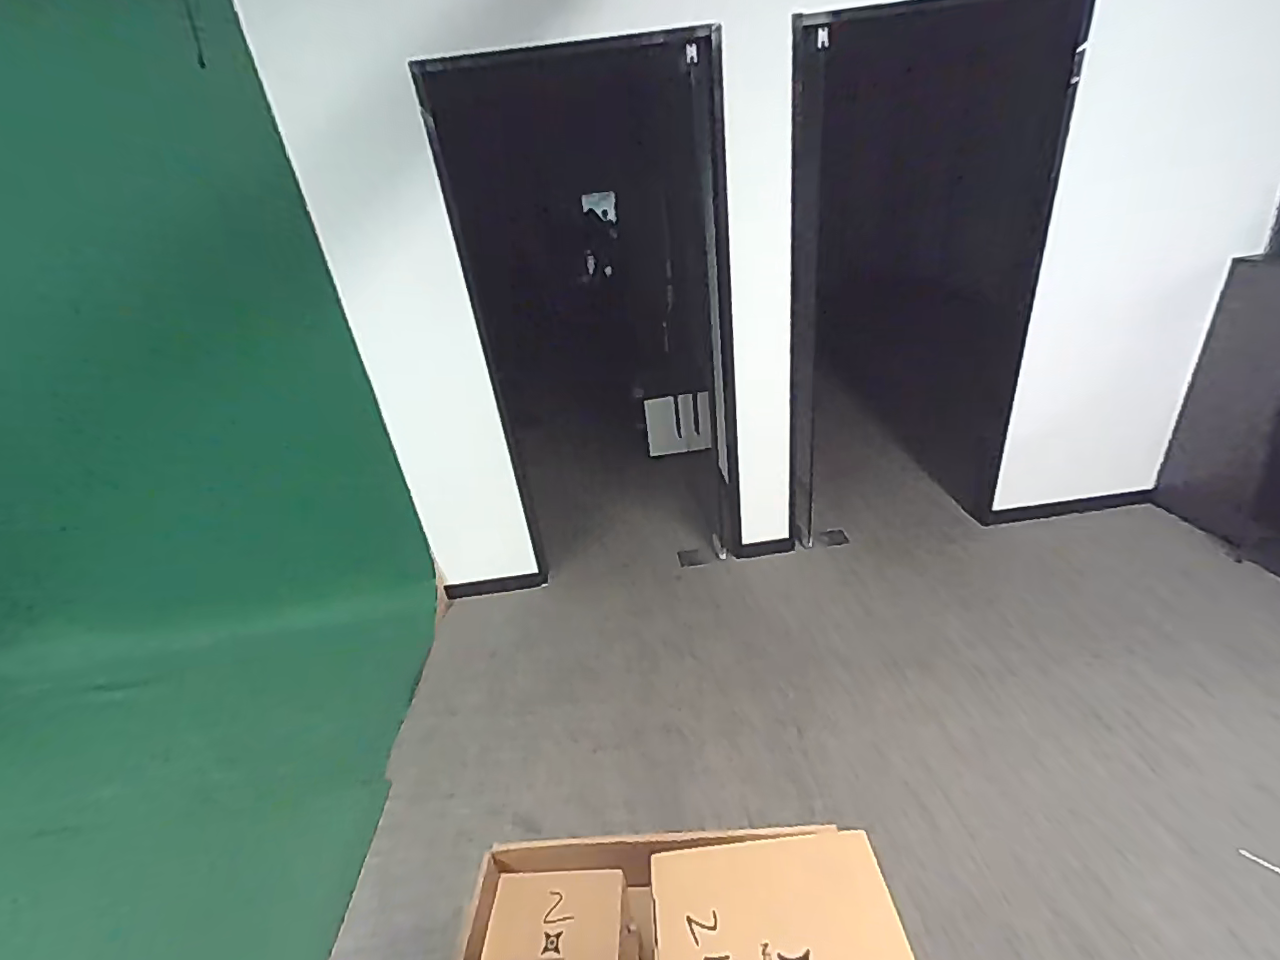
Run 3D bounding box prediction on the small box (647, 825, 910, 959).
[{"bbox_3d":[0.104,0.395,0.404,0.179,0.176,0.168,-9,30,2],"label":"small box"}]
